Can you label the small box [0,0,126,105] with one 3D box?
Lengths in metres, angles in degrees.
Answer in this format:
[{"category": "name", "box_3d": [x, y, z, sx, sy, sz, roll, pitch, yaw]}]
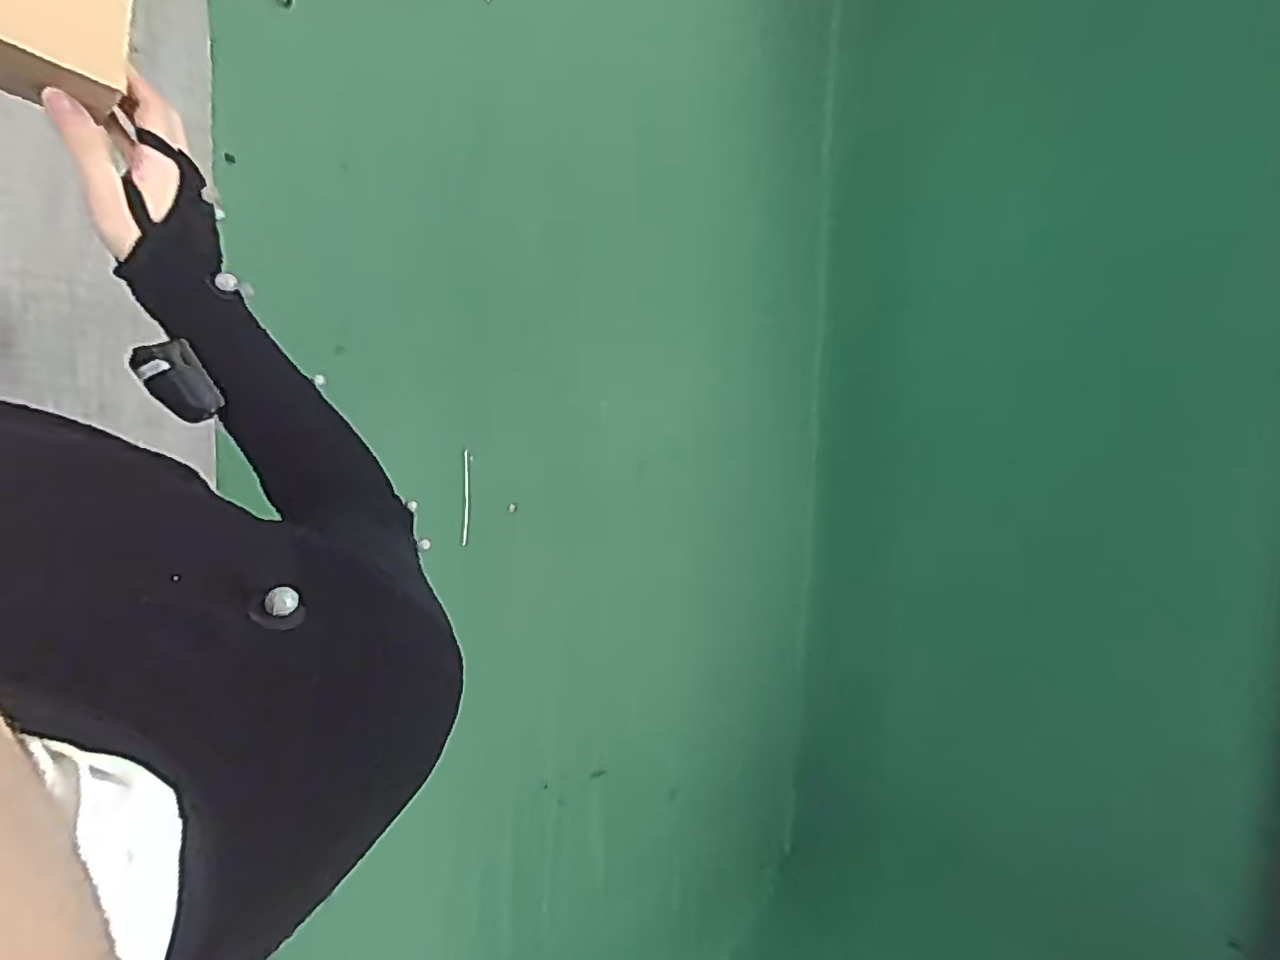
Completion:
[{"category": "small box", "box_3d": [-0.402, -0.340, 0.294, 0.179, 0.176, 0.168, 5, 103, -50]}]
